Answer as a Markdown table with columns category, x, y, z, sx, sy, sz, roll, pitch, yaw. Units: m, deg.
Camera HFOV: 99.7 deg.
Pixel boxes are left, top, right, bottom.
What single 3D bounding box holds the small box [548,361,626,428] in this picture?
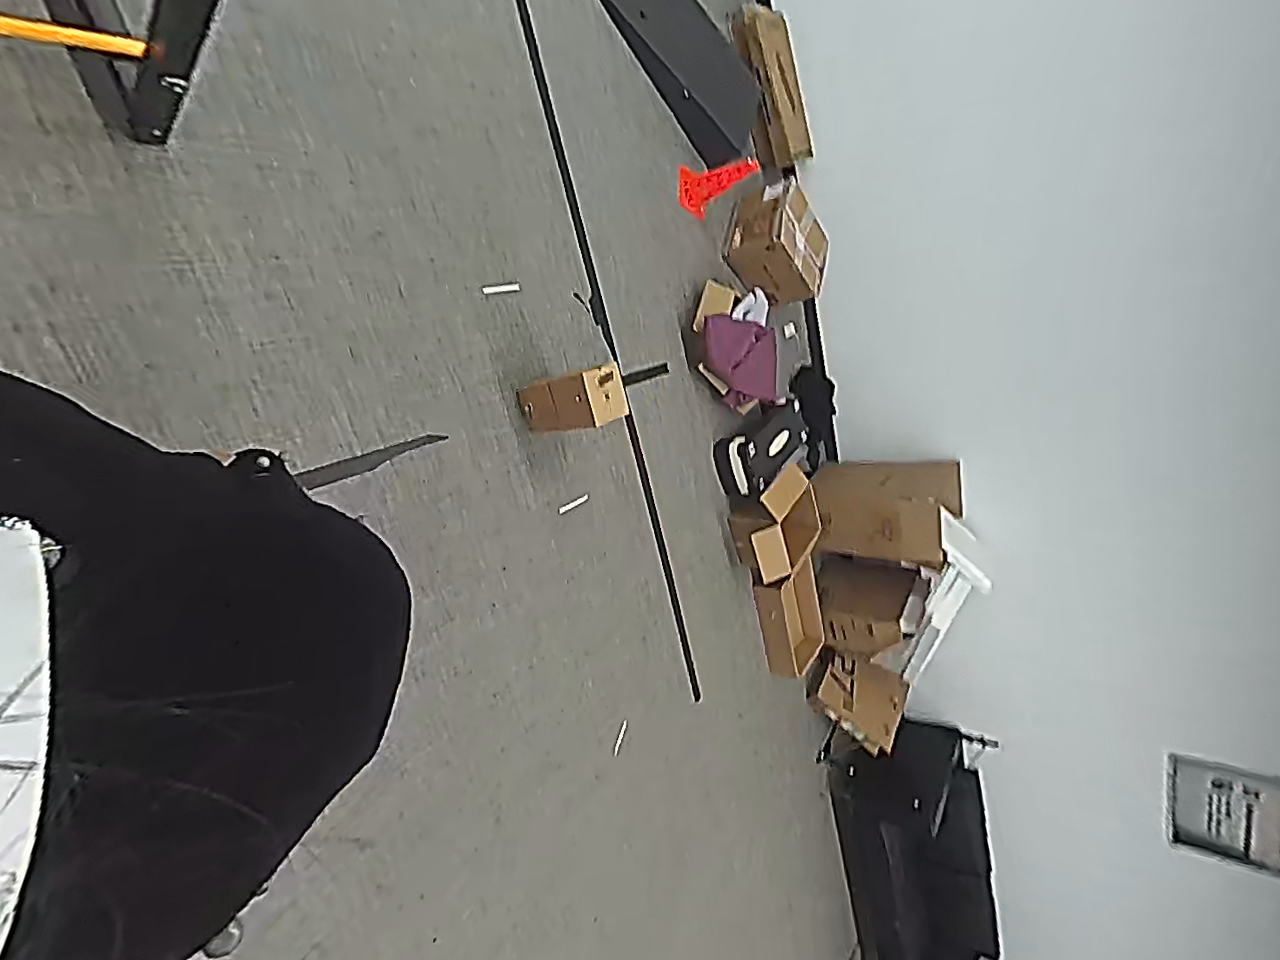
| category | x | y | z | sx | sy | sz | roll | pitch | yaw |
| --- | --- | --- | --- | --- | --- | --- | --- | --- | --- |
| small box | -0.175 | -0.279 | 1.770 | 0.168 | 0.176 | 0.179 | -30 | 113 | -44 |

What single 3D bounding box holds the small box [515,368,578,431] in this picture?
| category | x | y | z | sx | sy | sz | roll | pitch | yaw |
| --- | --- | --- | --- | --- | --- | --- | --- | --- | --- |
| small box | -0.300 | -0.279 | 1.878 | 0.179 | 0.176 | 0.168 | -35 | 115 | -41 |
